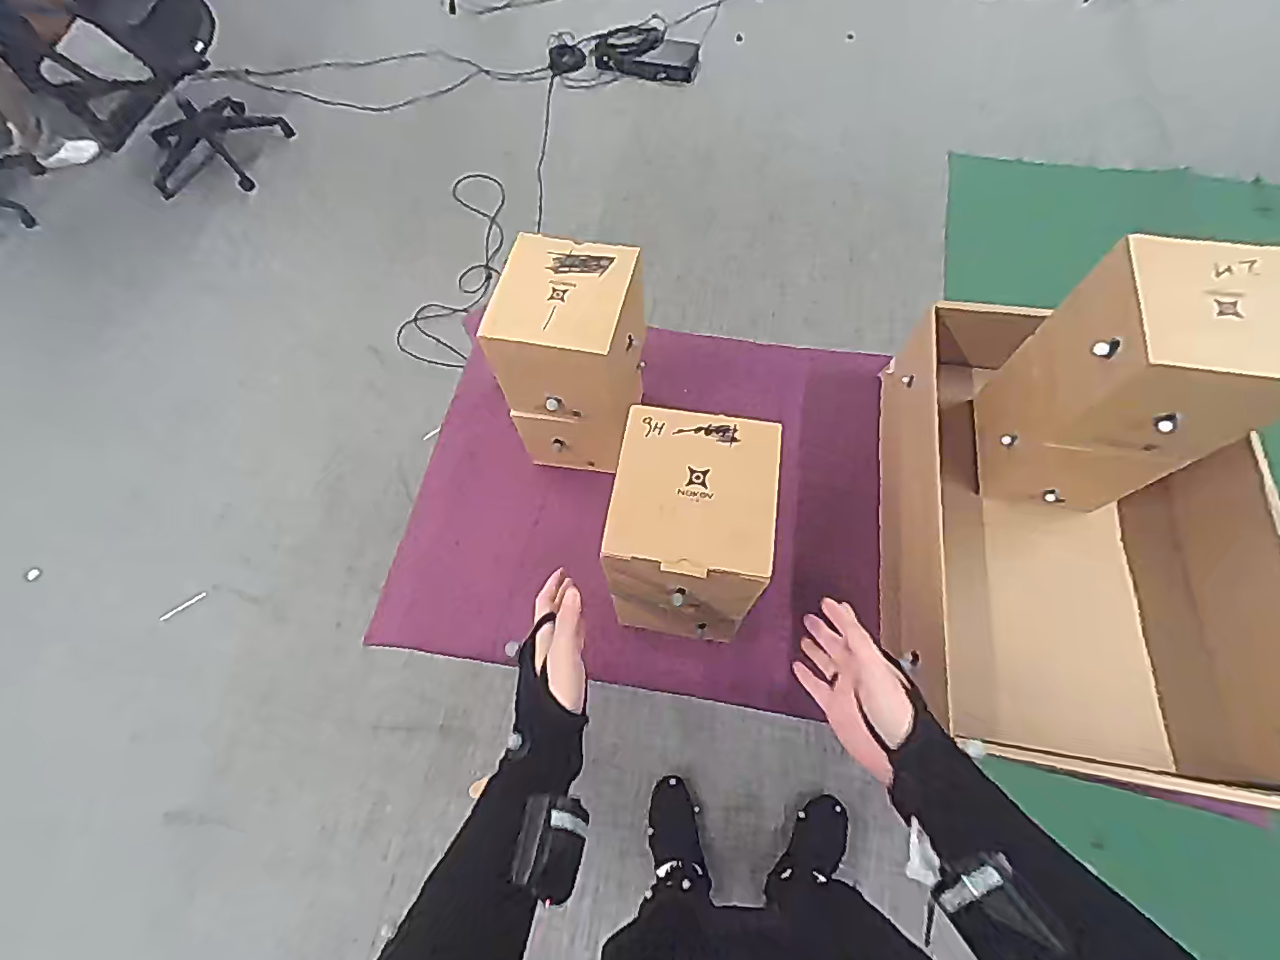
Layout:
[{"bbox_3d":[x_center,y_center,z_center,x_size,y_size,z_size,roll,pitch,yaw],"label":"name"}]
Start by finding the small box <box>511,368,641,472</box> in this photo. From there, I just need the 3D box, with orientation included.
[{"bbox_3d":[-0.092,-0.128,0.888,0.168,0.176,0.179,7,65,6],"label":"small box"}]

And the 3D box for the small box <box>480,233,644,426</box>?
[{"bbox_3d":[-0.092,-0.200,0.740,0.168,0.176,0.179,11,66,8],"label":"small box"}]

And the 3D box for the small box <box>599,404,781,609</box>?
[{"bbox_3d":[0.057,0.039,0.620,0.168,0.176,0.179,9,66,5],"label":"small box"}]

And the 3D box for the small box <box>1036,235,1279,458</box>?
[{"bbox_3d":[0.591,-0.144,0.618,0.168,0.176,0.179,10,67,8],"label":"small box"}]
